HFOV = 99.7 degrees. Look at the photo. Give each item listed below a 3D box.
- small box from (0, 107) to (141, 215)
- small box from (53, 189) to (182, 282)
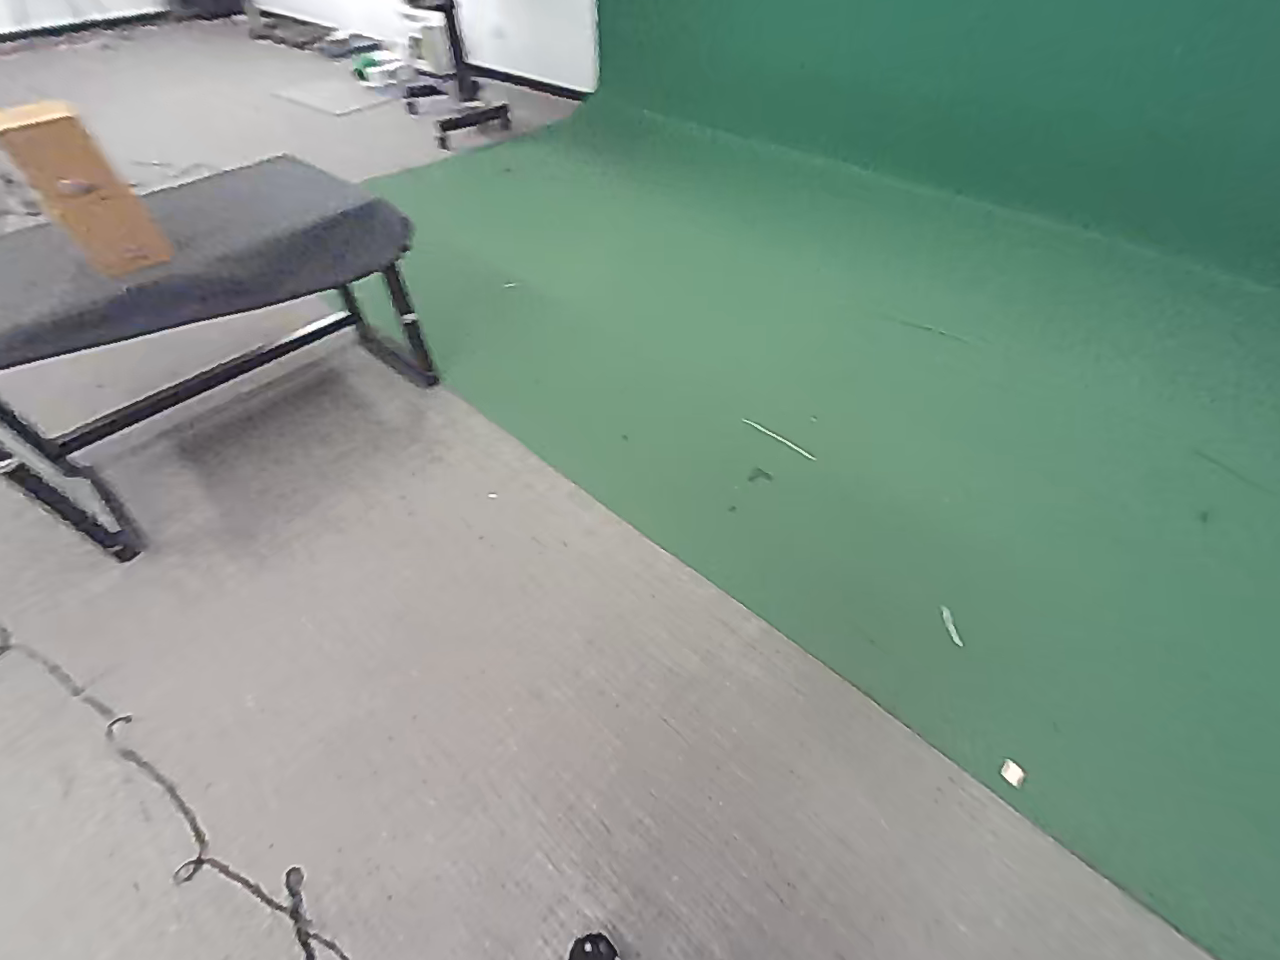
[{"bbox_3d":[-1.352,-0.754,1.282,0.179,0.176,0.168,35,60,27],"label":"small box"},{"bbox_3d":[-1.341,-0.642,1.400,0.168,0.176,0.179,35,57,28],"label":"small box"}]
